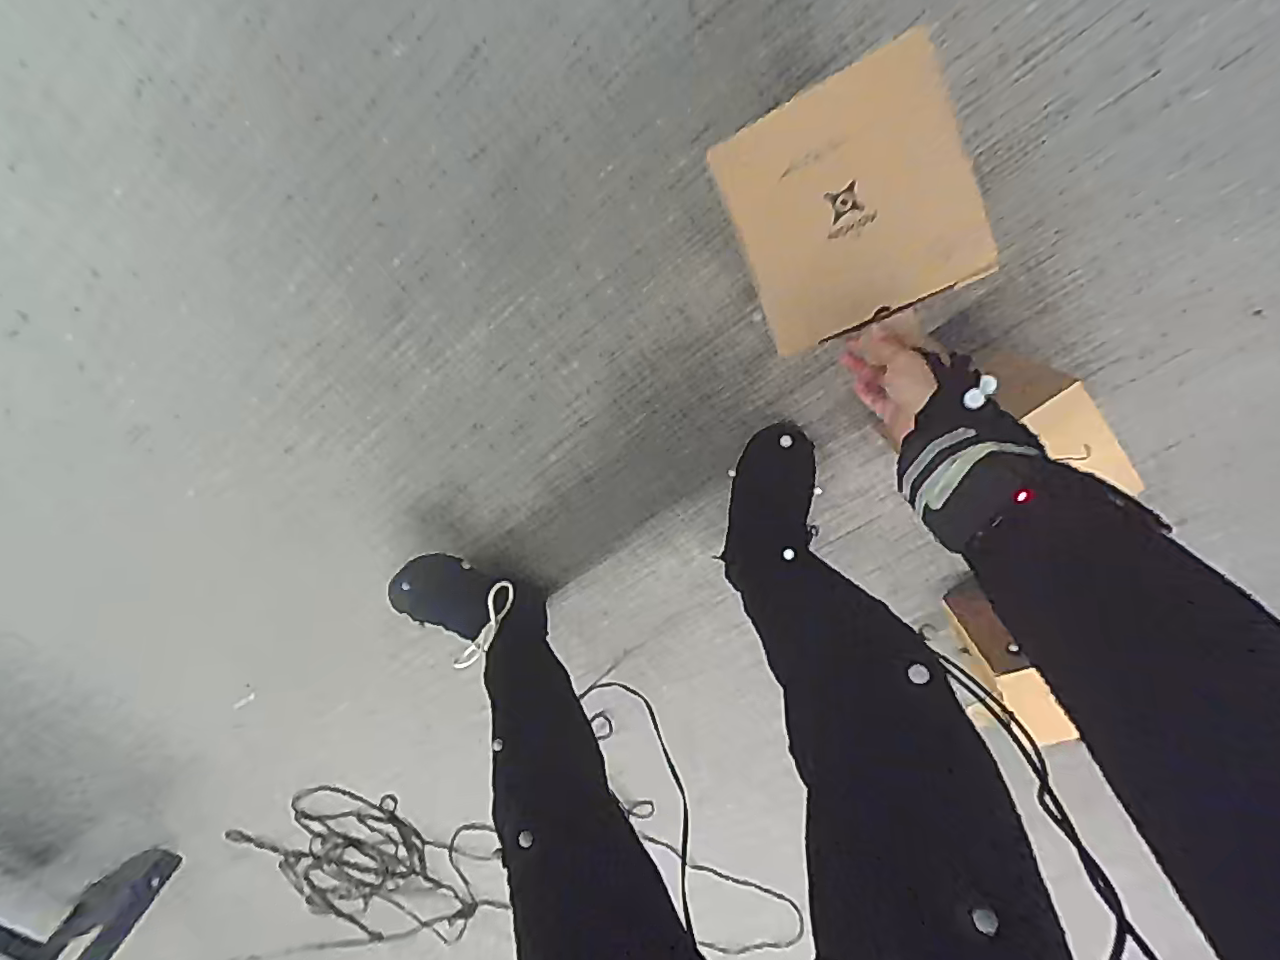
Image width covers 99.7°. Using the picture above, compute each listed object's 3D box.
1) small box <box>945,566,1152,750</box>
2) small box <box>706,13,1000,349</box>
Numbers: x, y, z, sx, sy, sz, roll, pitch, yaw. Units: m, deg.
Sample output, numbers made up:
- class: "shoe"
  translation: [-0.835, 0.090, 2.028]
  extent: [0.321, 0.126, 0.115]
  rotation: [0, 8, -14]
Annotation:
- class: "small box"
  translation: [0.587, 0.253, 0.793]
  extent: [0.179, 0.176, 0.168]
  rotation: [-23, 114, 15]
- class: "small box"
  translation: [0.176, -0.231, 0.474]
  extent: [0.168, 0.176, 0.179]
  rotation: [-20, 98, 20]
